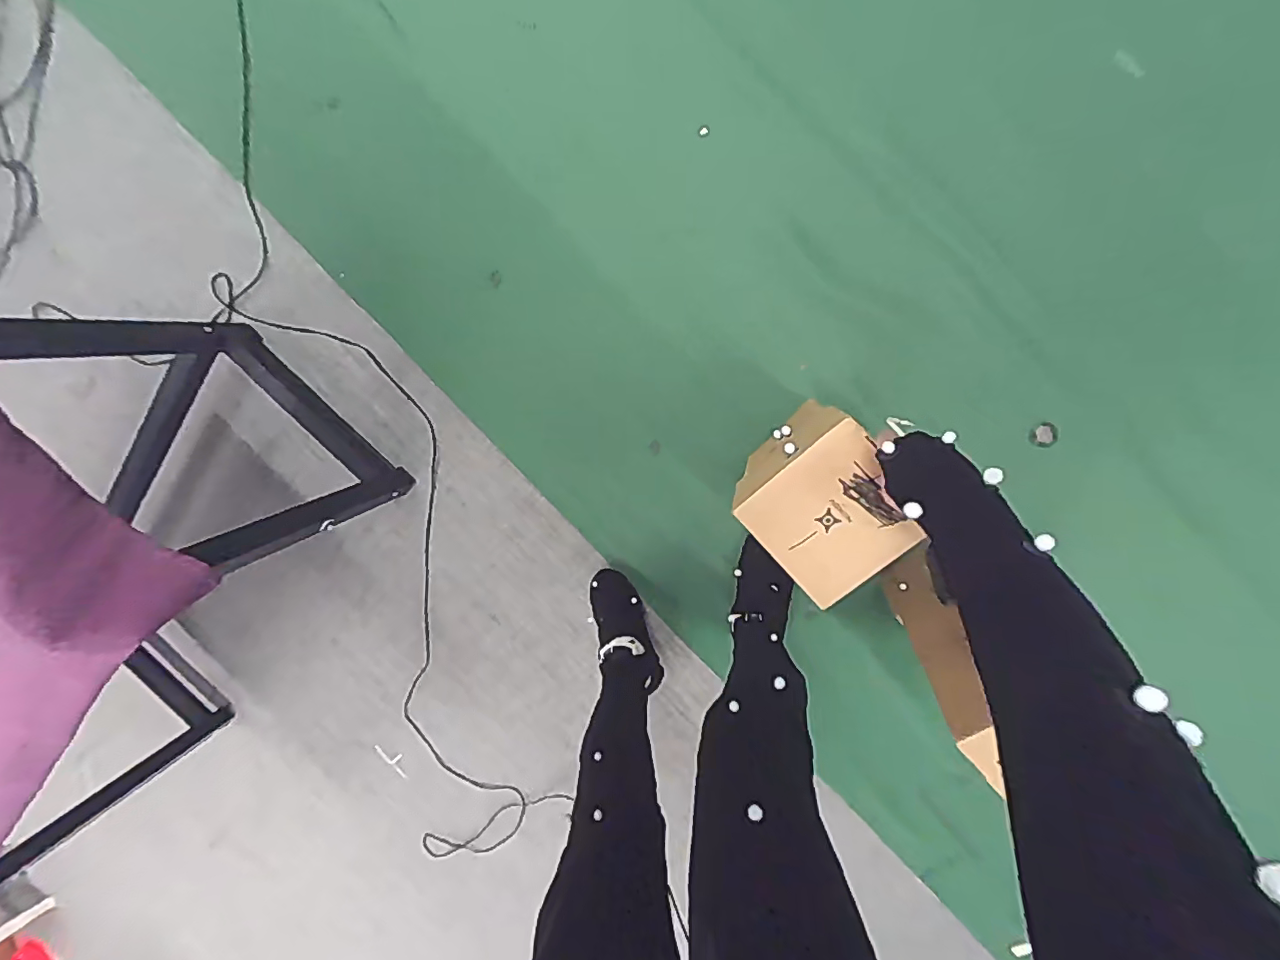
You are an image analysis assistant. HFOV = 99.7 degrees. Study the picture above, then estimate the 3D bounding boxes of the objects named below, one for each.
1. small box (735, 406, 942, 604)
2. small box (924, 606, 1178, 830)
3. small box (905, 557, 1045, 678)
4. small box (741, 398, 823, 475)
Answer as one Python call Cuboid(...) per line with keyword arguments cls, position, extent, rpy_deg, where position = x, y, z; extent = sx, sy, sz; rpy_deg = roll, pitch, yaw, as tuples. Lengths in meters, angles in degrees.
Cuboid(cls="small box", position=(0.241, 0.020, 0.702), extent=(0.179, 0.176, 0.168), rpy_deg=(-42, 91, 18))
Cuboid(cls="small box", position=(0.511, 0.298, 0.707), extent=(0.179, 0.176, 0.168), rpy_deg=(-41, 92, 22))
Cuboid(cls="small box", position=(0.551, 0.257, 0.862), extent=(0.179, 0.176, 0.168), rpy_deg=(-42, 93, 22))
Cuboid(cls="small box", position=(0.315, -0.033, 1.016), extent=(0.168, 0.176, 0.179), rpy_deg=(44, 110, 0))
